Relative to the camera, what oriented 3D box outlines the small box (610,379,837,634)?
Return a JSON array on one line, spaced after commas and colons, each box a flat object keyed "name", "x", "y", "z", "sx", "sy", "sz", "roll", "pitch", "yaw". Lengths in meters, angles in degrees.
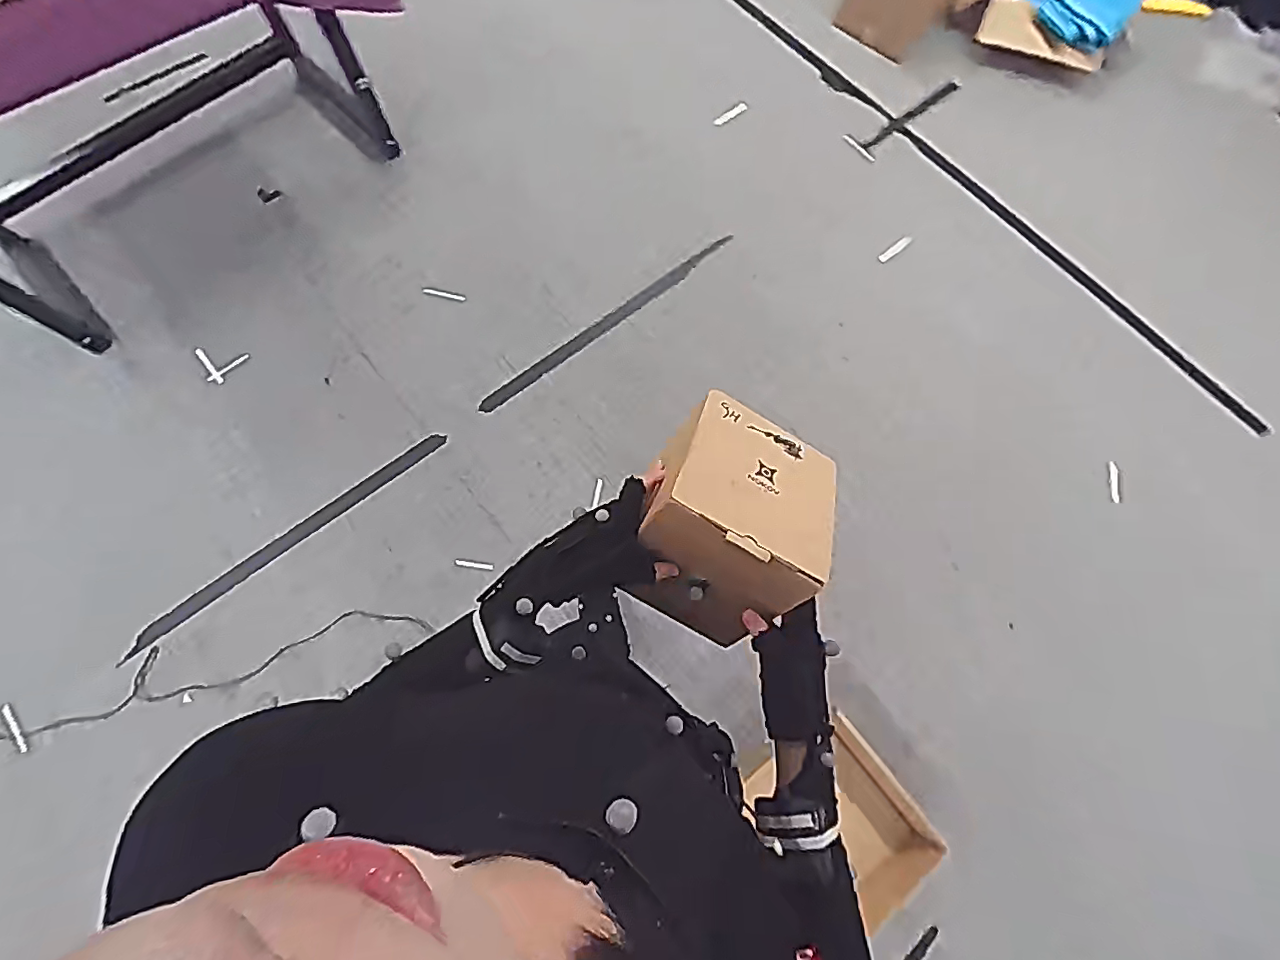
[{"name": "small box", "x": 0.084, "y": 0.035, "z": 0.576, "sx": 0.168, "sy": 0.176, "sz": 0.179, "roll": 30, "pitch": 47, "yaw": -7}]
